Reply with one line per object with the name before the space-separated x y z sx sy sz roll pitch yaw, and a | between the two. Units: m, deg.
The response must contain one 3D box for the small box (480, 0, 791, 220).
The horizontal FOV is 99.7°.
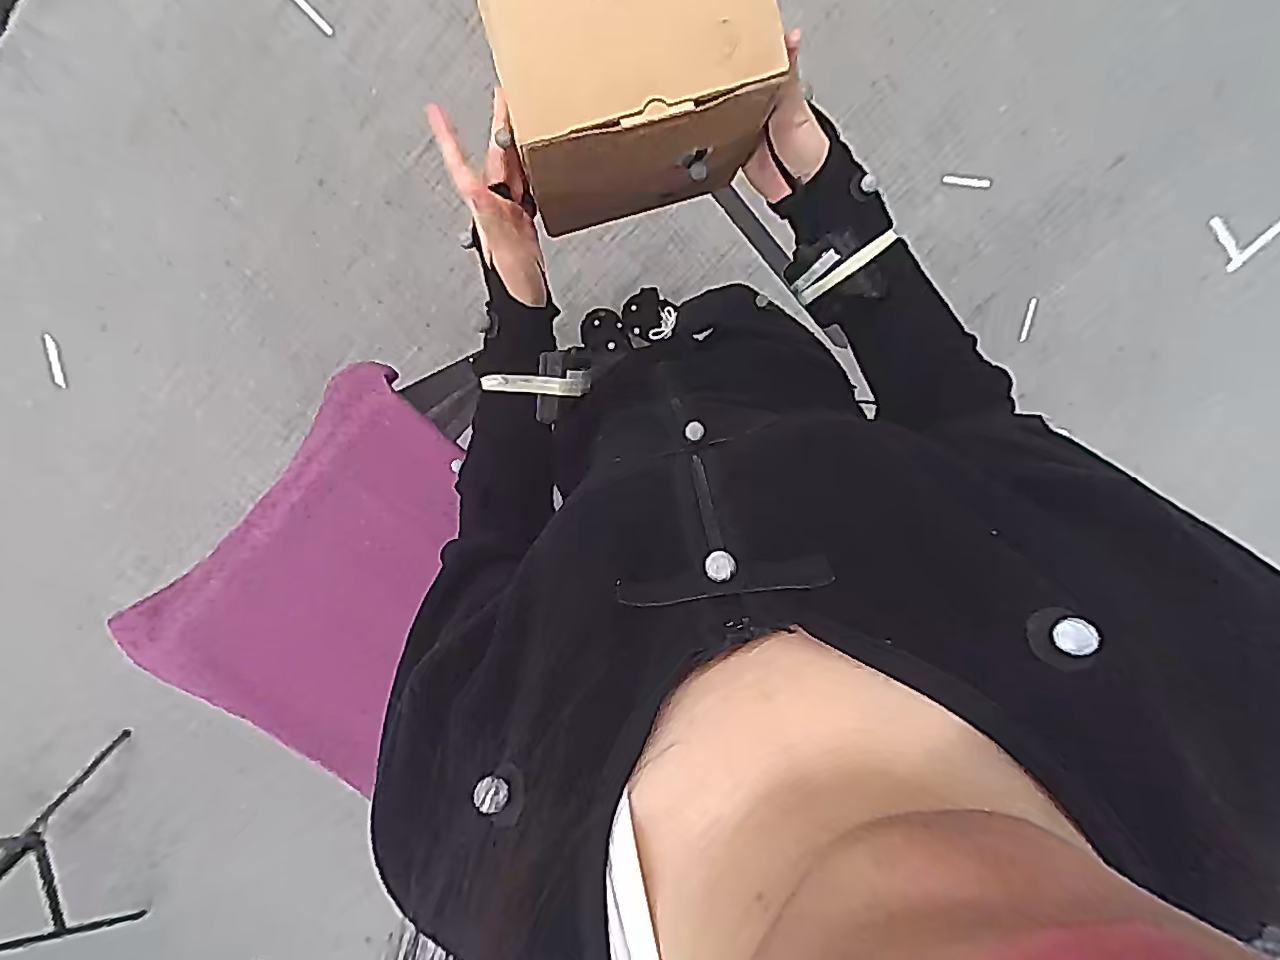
small box | -0.016 -0.303 0.375 0.168 0.176 0.179 -16 97 -2
